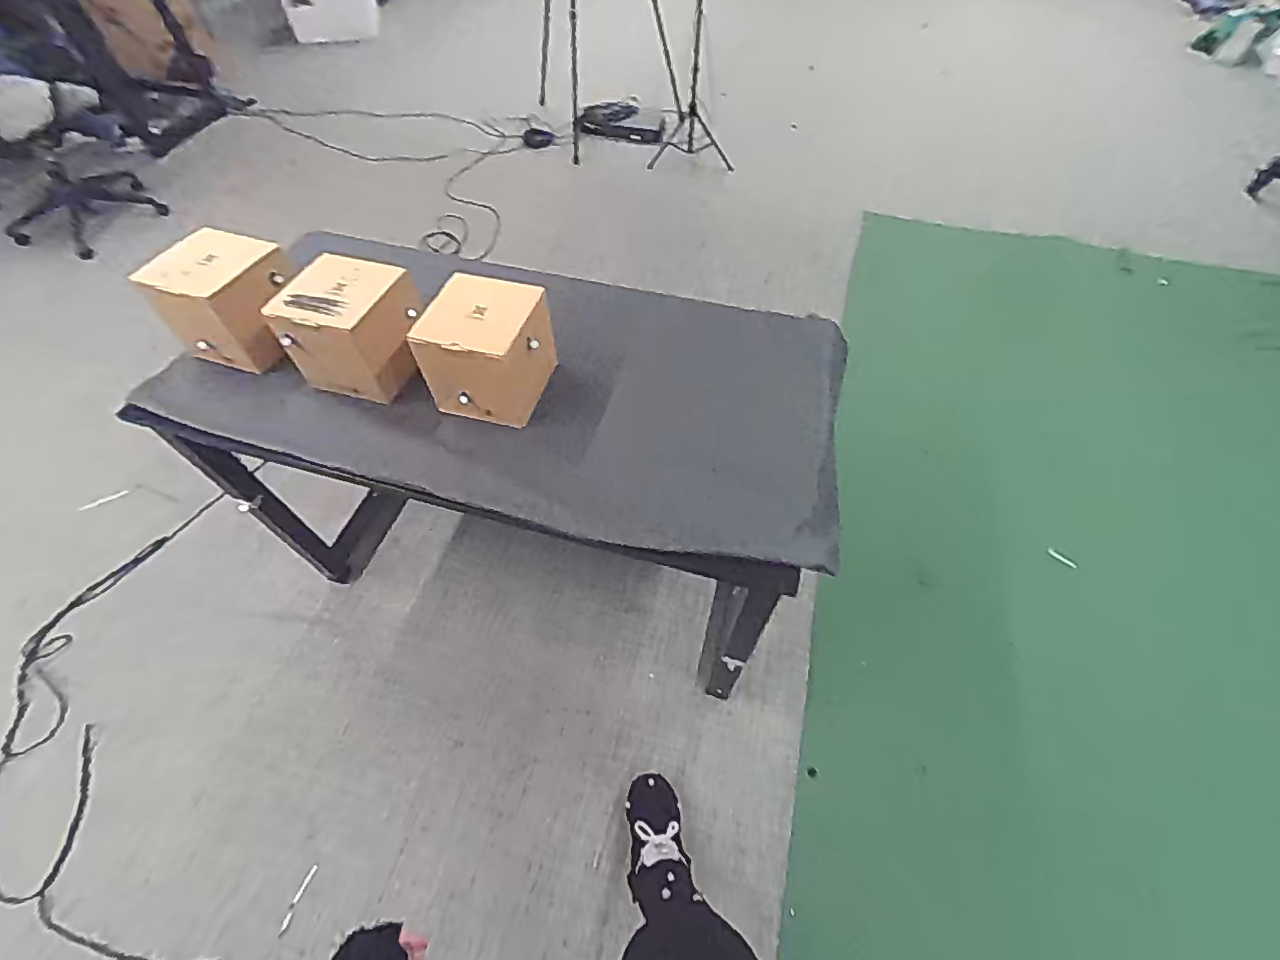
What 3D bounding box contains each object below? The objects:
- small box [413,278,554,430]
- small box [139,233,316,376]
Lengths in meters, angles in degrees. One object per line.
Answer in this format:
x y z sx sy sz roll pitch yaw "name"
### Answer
-0.256 -0.216 0.939 0.168 0.176 0.179 13 57 8 "small box"
-0.747 -0.326 1.010 0.168 0.176 0.179 16 55 11 "small box"
